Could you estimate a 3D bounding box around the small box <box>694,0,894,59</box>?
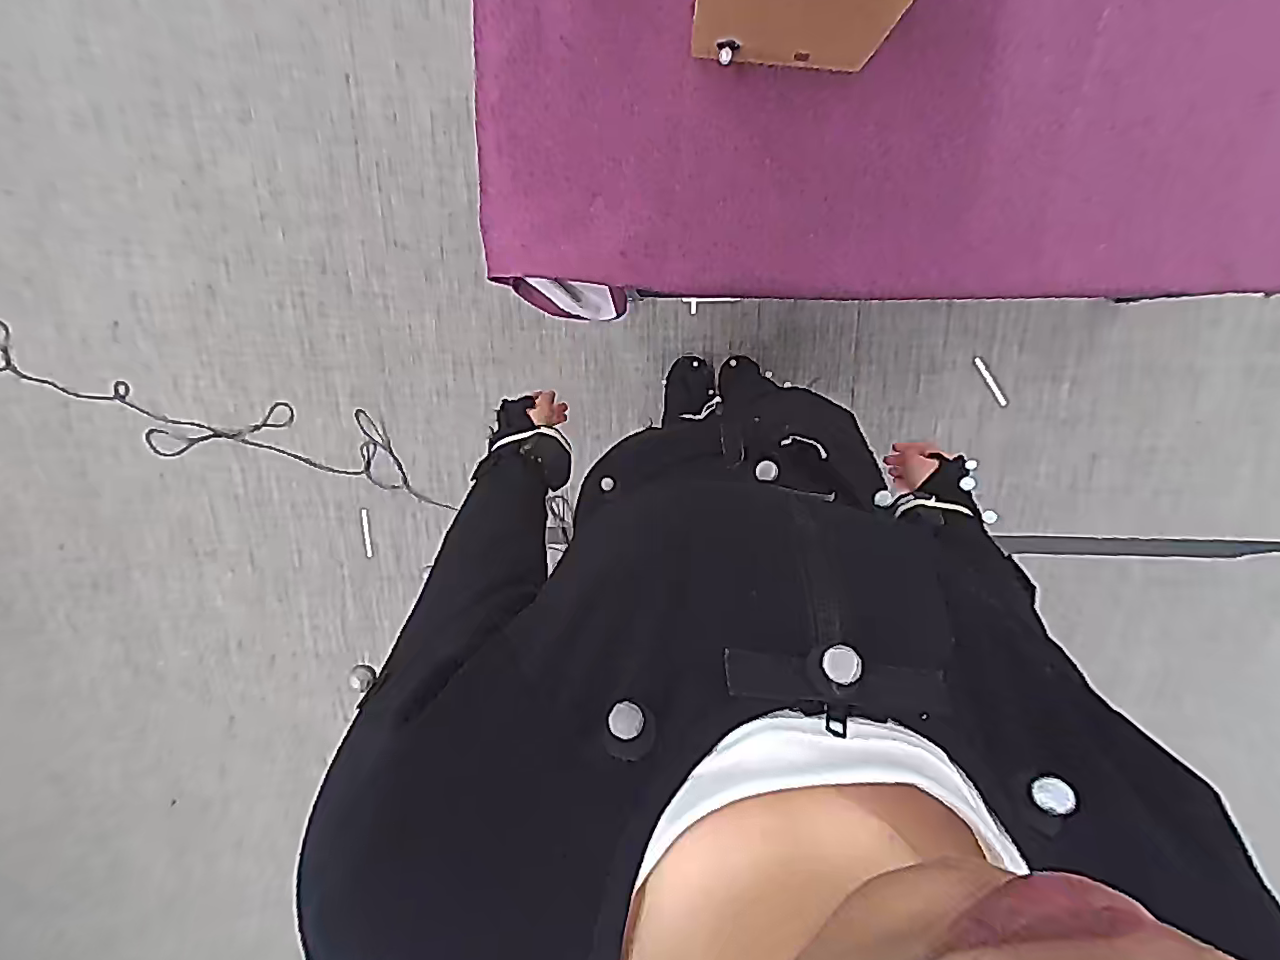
[{"bbox_3d":[0.135,-0.470,0.423,0.168,0.176,0.179,5,105,0],"label":"small box"}]
